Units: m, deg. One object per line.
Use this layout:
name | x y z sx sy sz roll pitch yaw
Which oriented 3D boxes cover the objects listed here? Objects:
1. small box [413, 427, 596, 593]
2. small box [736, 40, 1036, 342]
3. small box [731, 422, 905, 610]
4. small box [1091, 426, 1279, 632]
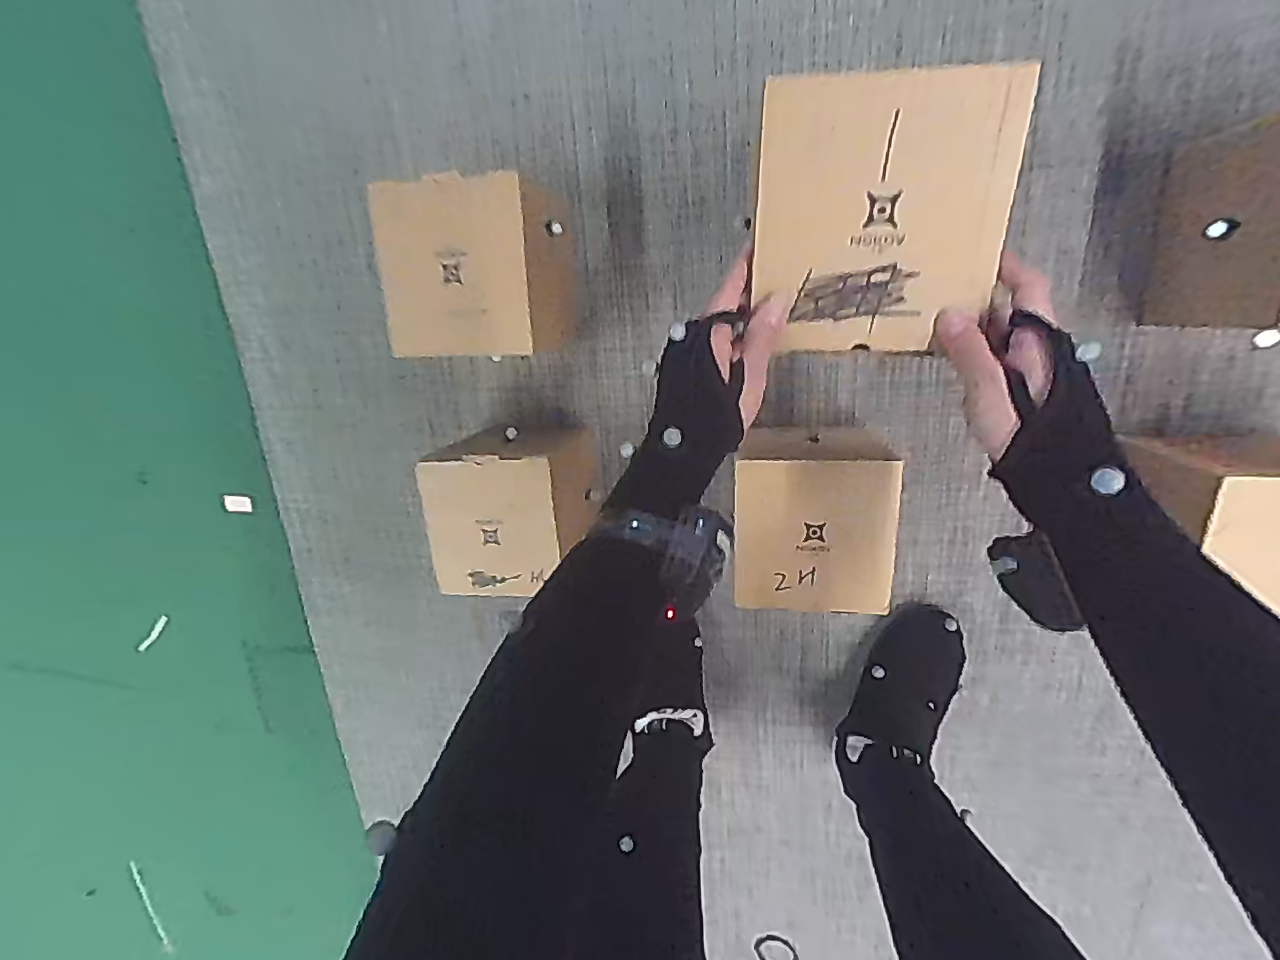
small box | -0.160 0.027 0.697 0.168 0.176 0.179 -1 106 11
small box | 0.165 -0.211 0.433 0.168 0.176 0.179 2 111 7
small box | 0.192 0.029 0.631 0.168 0.176 0.179 1 108 11
small box | 0.620 0.041 0.557 0.179 0.176 0.168 1 108 10
